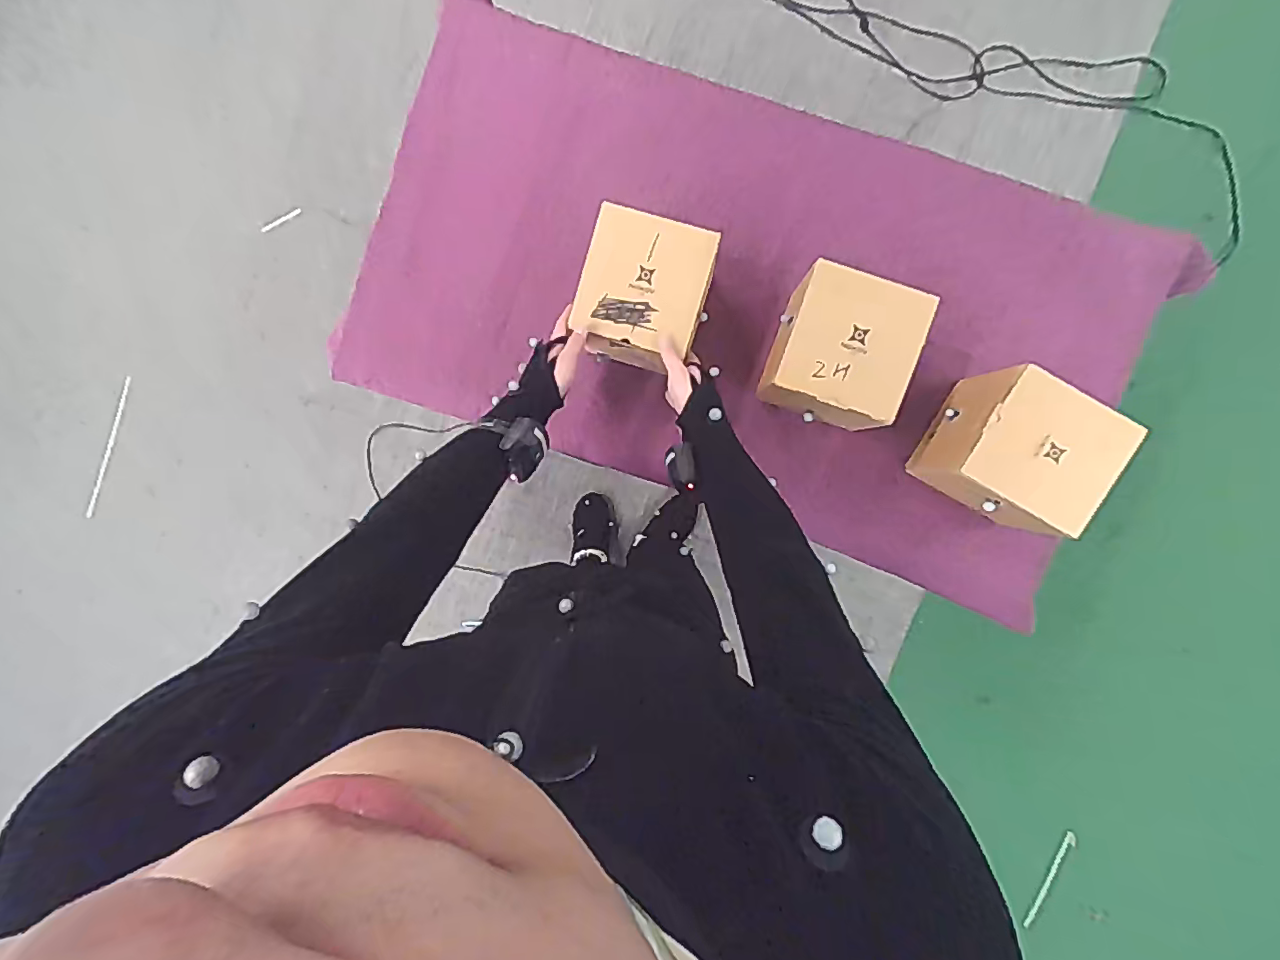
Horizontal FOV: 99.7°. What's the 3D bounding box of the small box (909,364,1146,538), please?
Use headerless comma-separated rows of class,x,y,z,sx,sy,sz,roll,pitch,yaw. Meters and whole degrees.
small box,0.529,-0.042,0.768,0.179,0.176,0.168,30,95,3

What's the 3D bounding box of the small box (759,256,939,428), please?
small box,0.282,-0.185,0.776,0.168,0.176,0.179,20,94,3

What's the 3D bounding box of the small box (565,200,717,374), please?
small box,0.007,-0.267,0.791,0.168,0.176,0.179,17,93,3
